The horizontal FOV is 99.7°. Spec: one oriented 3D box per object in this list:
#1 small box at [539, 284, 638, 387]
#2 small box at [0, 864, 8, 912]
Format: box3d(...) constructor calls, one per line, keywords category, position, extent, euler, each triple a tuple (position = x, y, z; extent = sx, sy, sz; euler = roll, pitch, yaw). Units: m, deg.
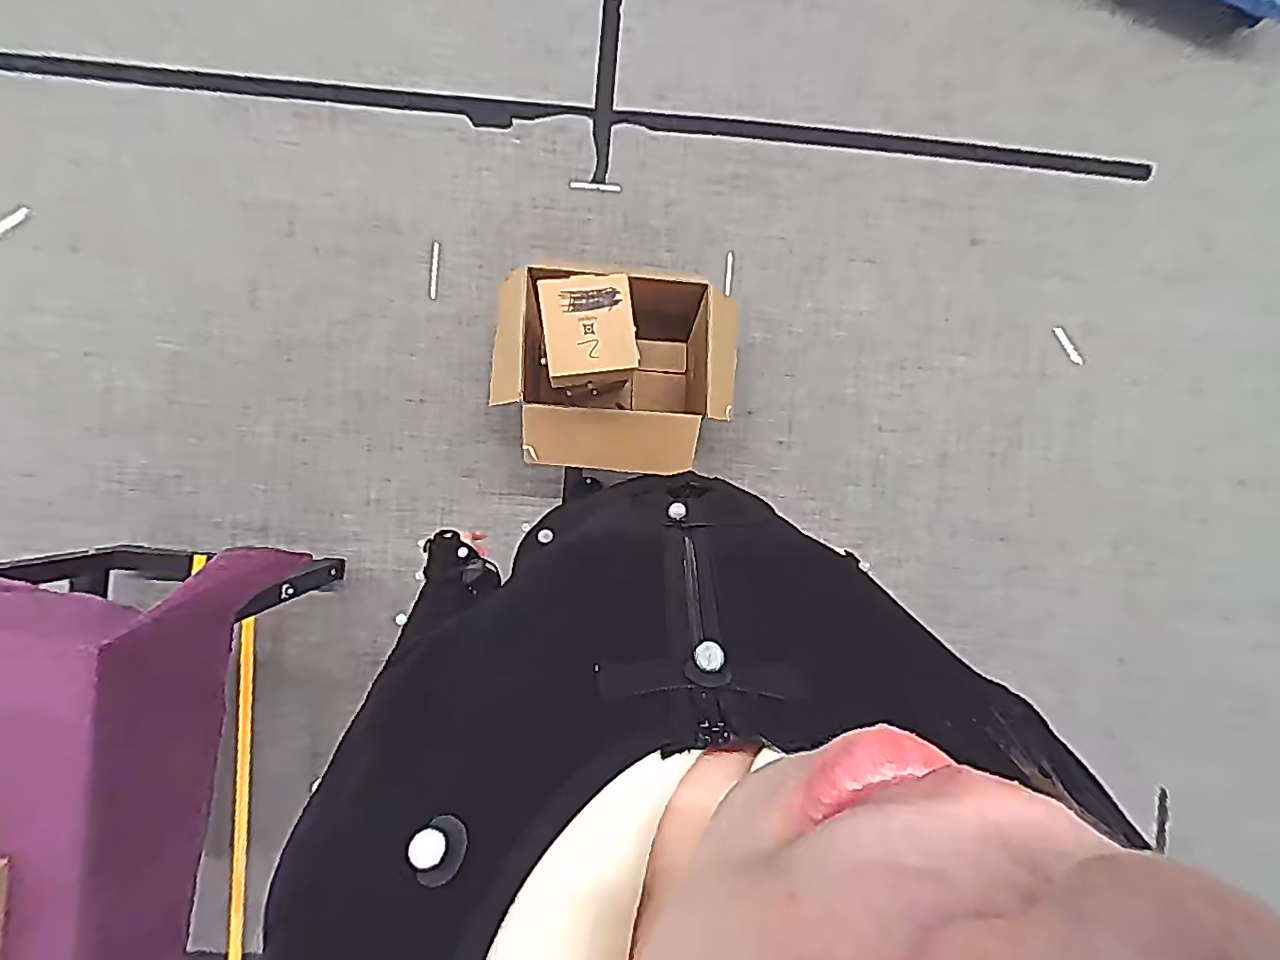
box3d(category="small box", position=(-0.116, -0.317, 1.222), extent=(0.179, 0.176, 0.168), euler=(-17, 95, -7))
box3d(category="small box", position=(-0.936, 0.581, 0.645), extent=(0.179, 0.176, 0.168), euler=(8, 91, -3))
